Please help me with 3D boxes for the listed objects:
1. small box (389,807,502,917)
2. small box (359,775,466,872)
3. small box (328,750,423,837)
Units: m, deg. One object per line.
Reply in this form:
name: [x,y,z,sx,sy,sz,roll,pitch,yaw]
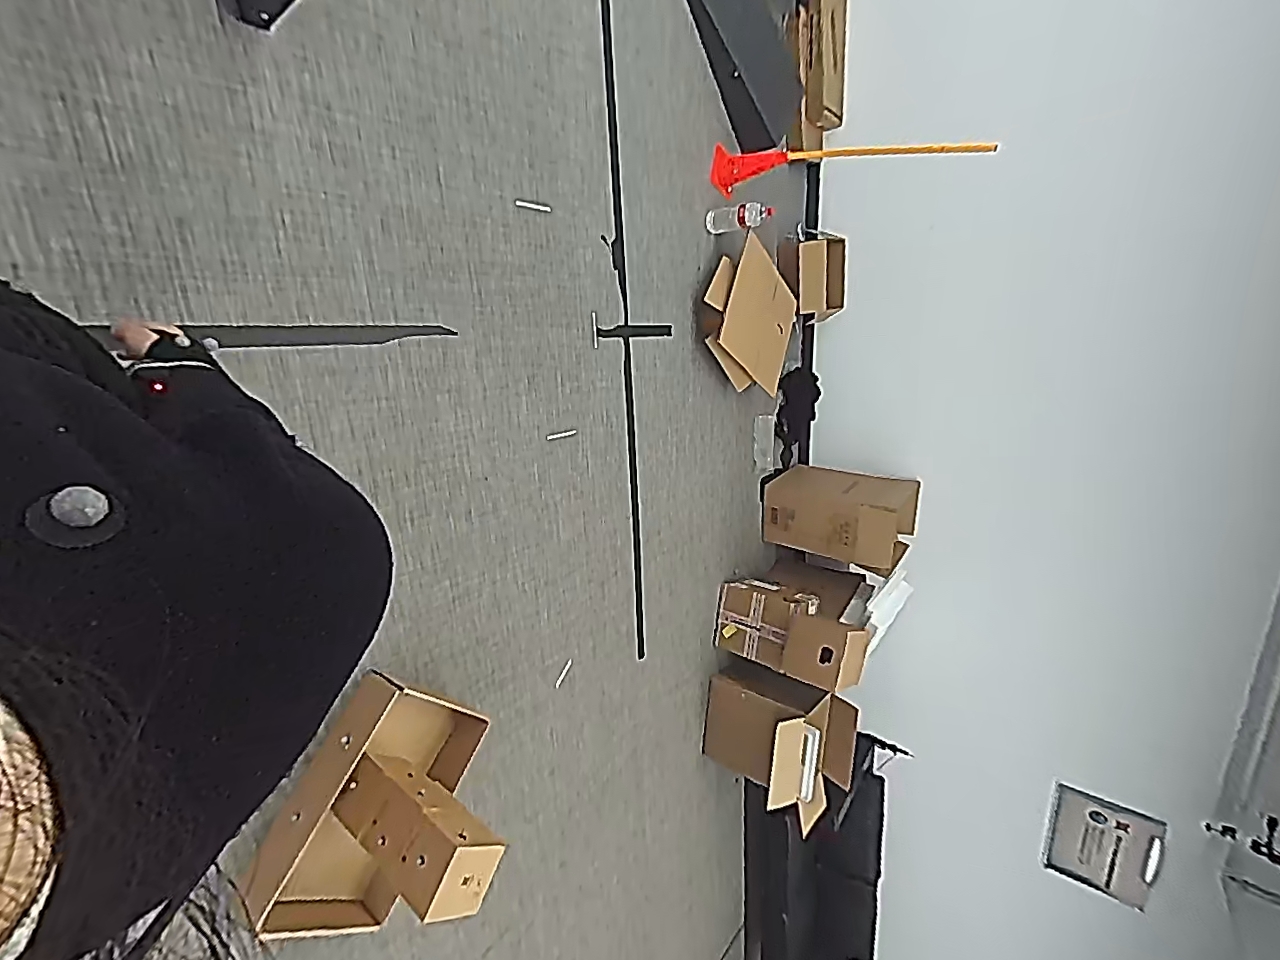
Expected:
small box: [-0.494,0.955,1.368,0.179,0.176,0.168,44,66,-47]
small box: [-0.621,0.927,1.471,0.179,0.176,0.168,45,64,-49]
small box: [-0.752,0.908,1.565,0.179,0.176,0.168,49,60,-45]
